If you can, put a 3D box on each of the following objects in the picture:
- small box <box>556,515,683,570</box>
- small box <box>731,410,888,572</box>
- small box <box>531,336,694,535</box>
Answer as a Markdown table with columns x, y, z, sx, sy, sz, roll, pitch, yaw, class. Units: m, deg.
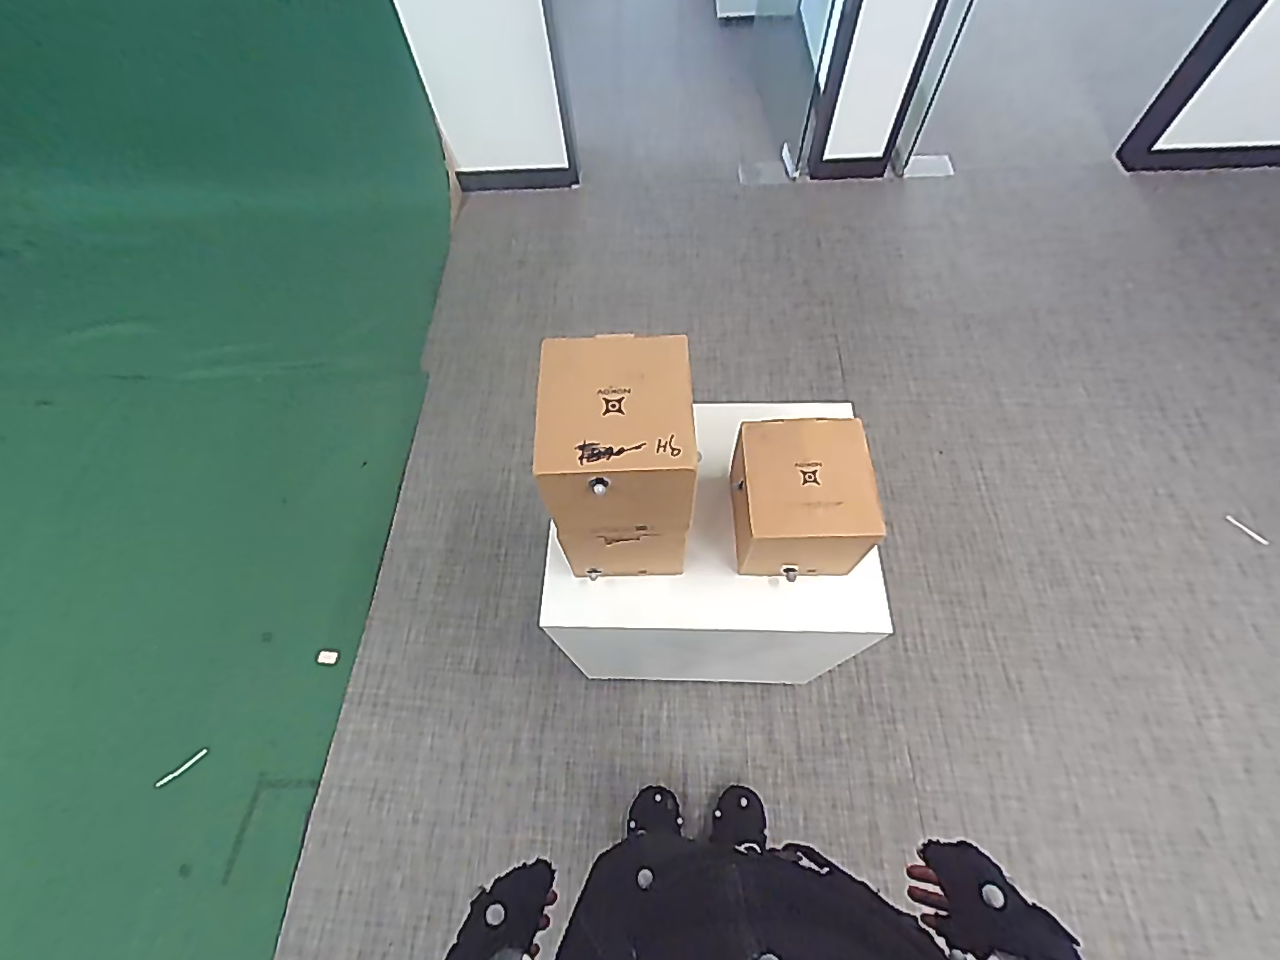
| x | y | z | sx | sy | sz | roll | pitch | yaw | class |
| --- | --- | --- | --- | --- | --- | --- | --- | --- | --- |
| -0.022 | 0.028 | 0.790 | 0.168 | 0.176 | 0.179 | -2 | 62 | 2 | small box |
| 0.223 | 0.021 | 0.764 | 0.168 | 0.176 | 0.179 | -3 | 64 | 4 | small box |
| -0.026 | -0.048 | 0.646 | 0.168 | 0.176 | 0.179 | -2 | 62 | 2 | small box |
